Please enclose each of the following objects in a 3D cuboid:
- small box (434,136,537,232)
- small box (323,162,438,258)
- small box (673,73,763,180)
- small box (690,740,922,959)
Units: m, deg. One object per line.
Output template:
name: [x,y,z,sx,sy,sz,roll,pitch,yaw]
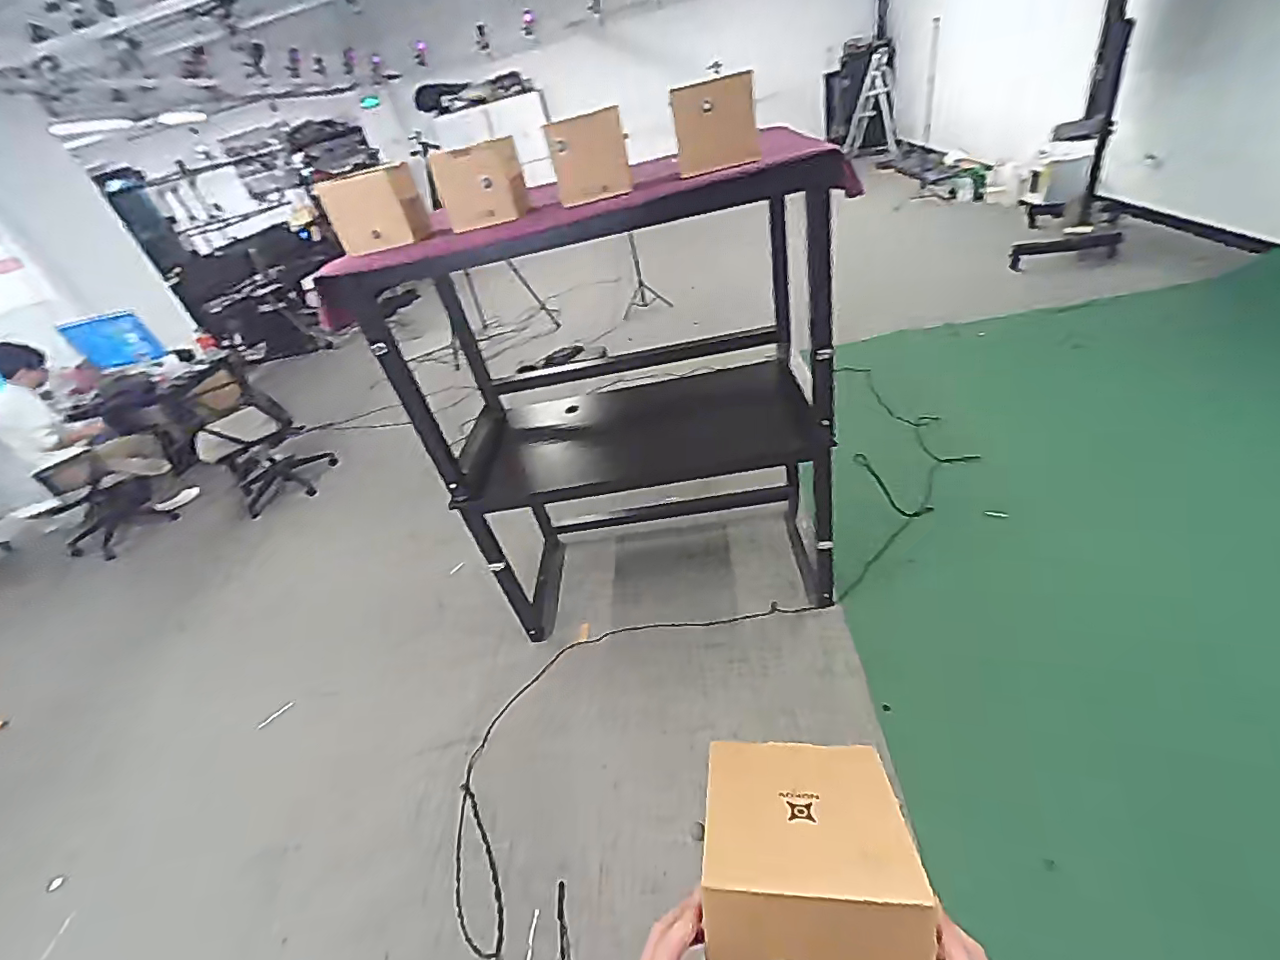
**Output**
small box: [-0.364,-0.713,1.310,0.168,0.176,0.179,-7,34,10]
small box: [-0.632,-0.671,1.344,0.179,0.176,0.168,-9,35,6]
small box: [0.176,-0.796,1.228,0.179,0.176,0.168,-8,34,9]
small box: [0.138,0.359,0.477,0.168,0.176,0.179,-4,8,9]
